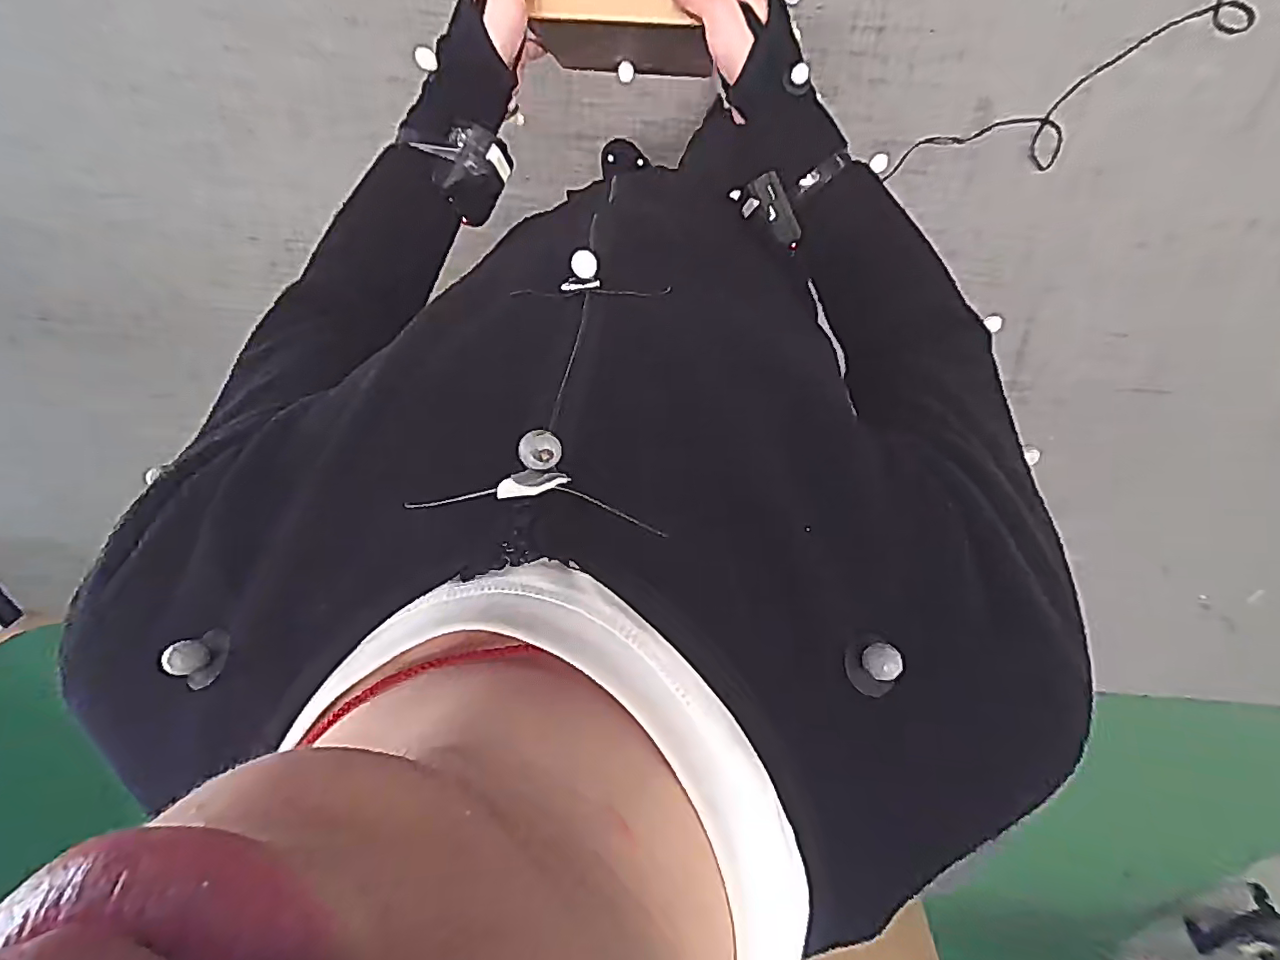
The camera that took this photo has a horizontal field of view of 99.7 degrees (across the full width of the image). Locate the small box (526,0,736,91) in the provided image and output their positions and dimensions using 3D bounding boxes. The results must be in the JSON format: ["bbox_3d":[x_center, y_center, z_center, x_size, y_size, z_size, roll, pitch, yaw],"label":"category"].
[{"bbox_3d":[0.008,-0.468,0.463,0.168,0.176,0.179,9,114,3],"label":"small box"}]
